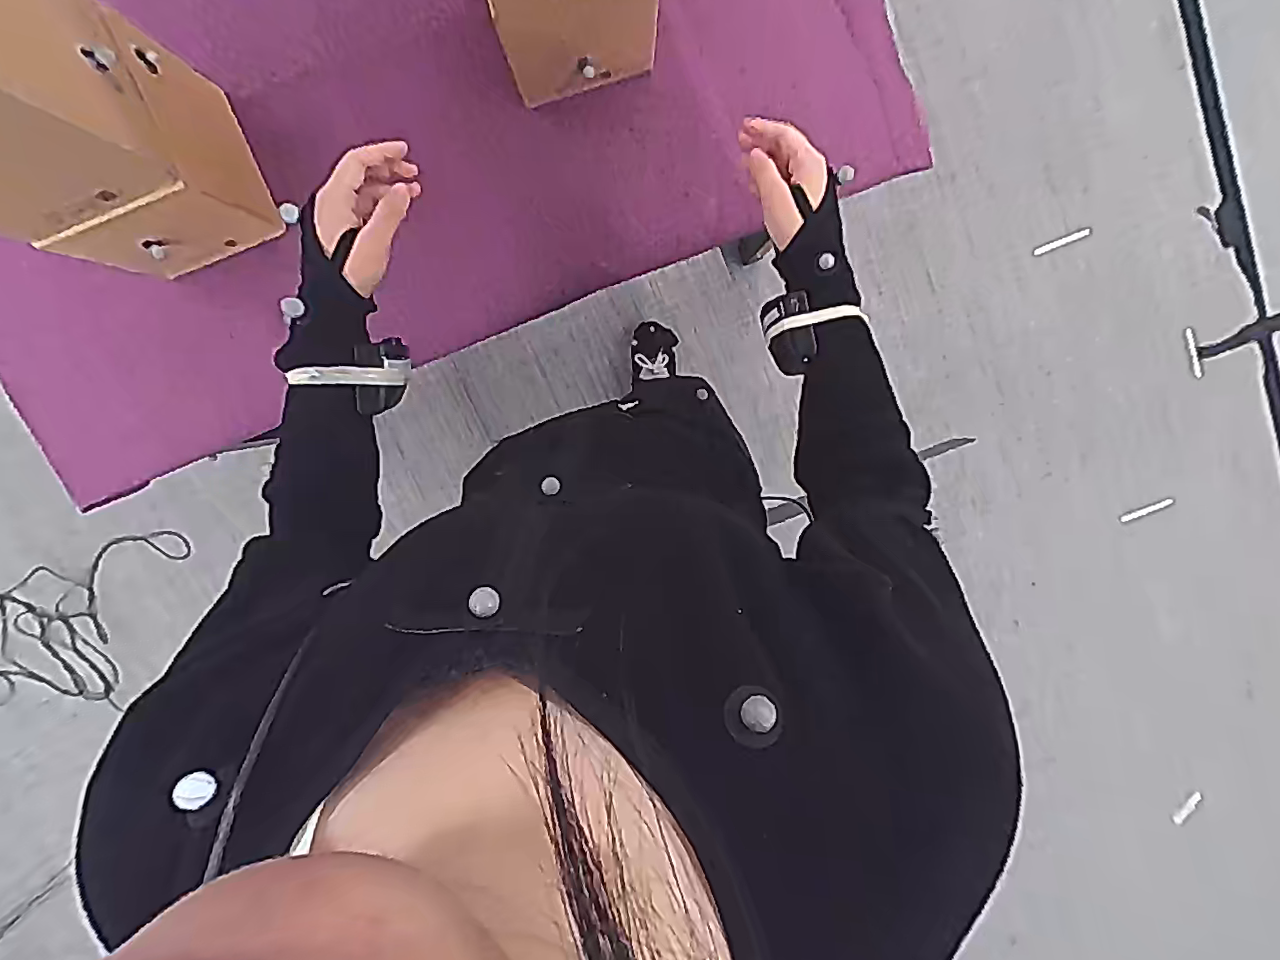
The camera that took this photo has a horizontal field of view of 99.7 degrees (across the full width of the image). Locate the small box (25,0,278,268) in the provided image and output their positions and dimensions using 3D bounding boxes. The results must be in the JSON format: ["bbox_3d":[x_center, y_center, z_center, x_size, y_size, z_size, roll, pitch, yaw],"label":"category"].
[{"bbox_3d":[-0.547,-0.348,0.589,0.168,0.176,0.179,-21,99,2],"label":"small box"}]

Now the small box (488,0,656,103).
[{"bbox_3d":[-0.085,-0.549,0.569,0.168,0.176,0.179,-16,99,2],"label":"small box"}]

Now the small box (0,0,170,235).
[{"bbox_3d":[-0.544,-0.327,0.426,0.168,0.176,0.179,-22,98,2],"label":"small box"}]
